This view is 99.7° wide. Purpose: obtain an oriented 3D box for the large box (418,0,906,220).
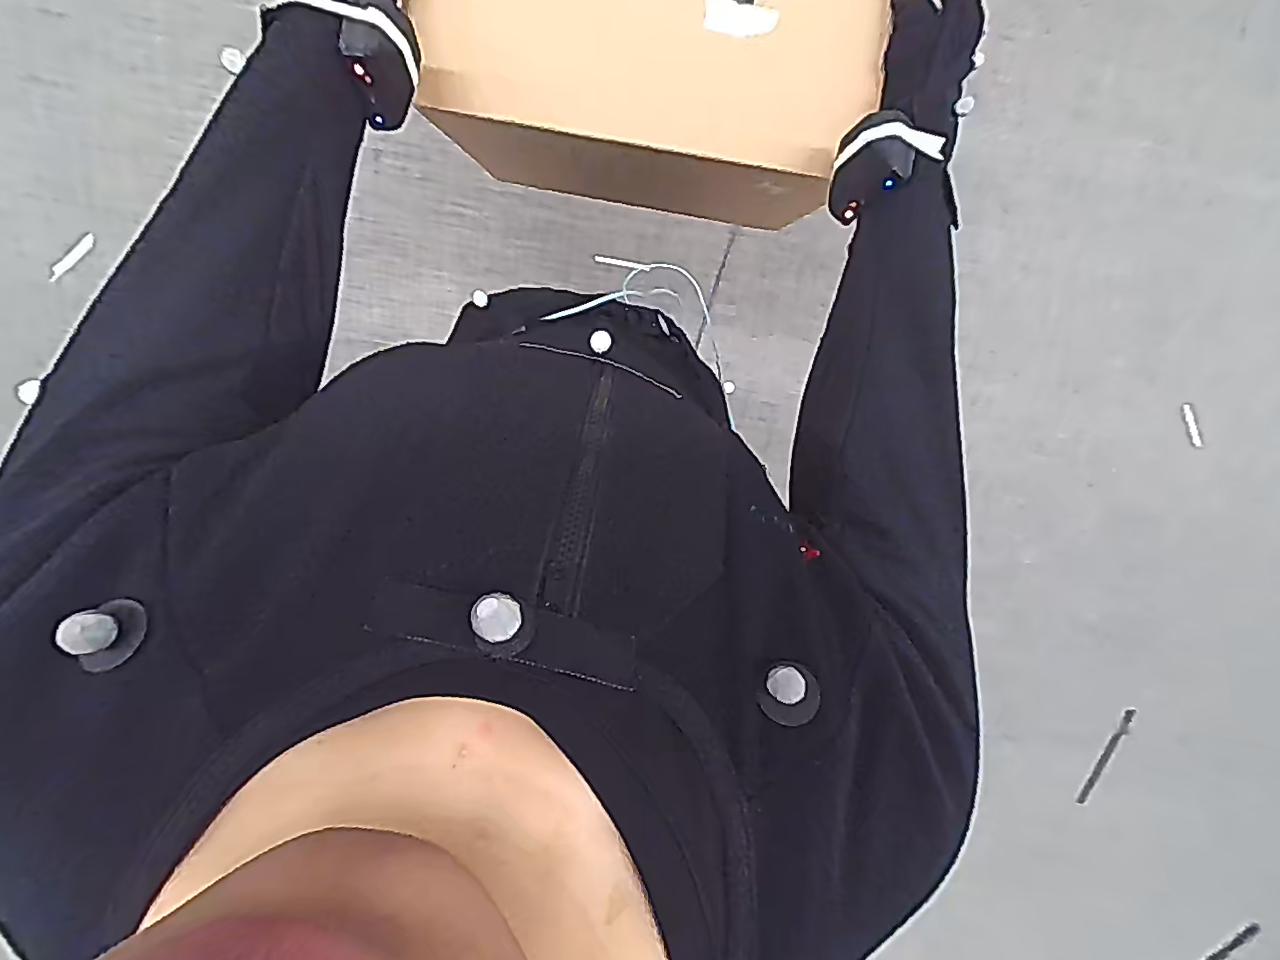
[{"bbox_3d":[0.025,-0.490,0.567,0.408,0.320,0.320,9,109,-3],"label":"large box"}]
